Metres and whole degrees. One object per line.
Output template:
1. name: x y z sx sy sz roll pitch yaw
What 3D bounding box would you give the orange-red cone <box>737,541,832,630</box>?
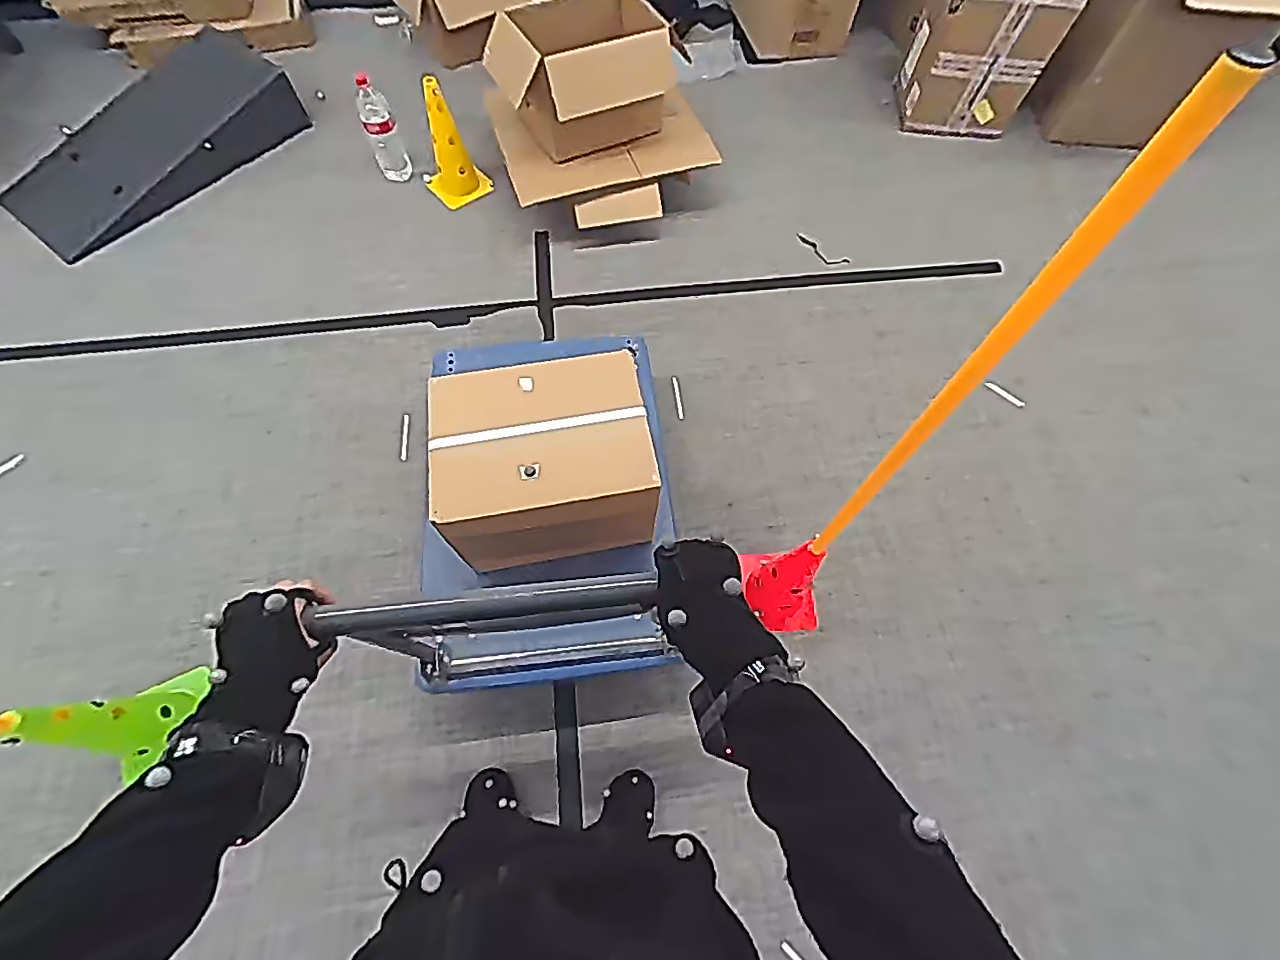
1. orange-red cone: 0.352 0.209 1.213 0.199 0.360 0.198 0 65 -3
